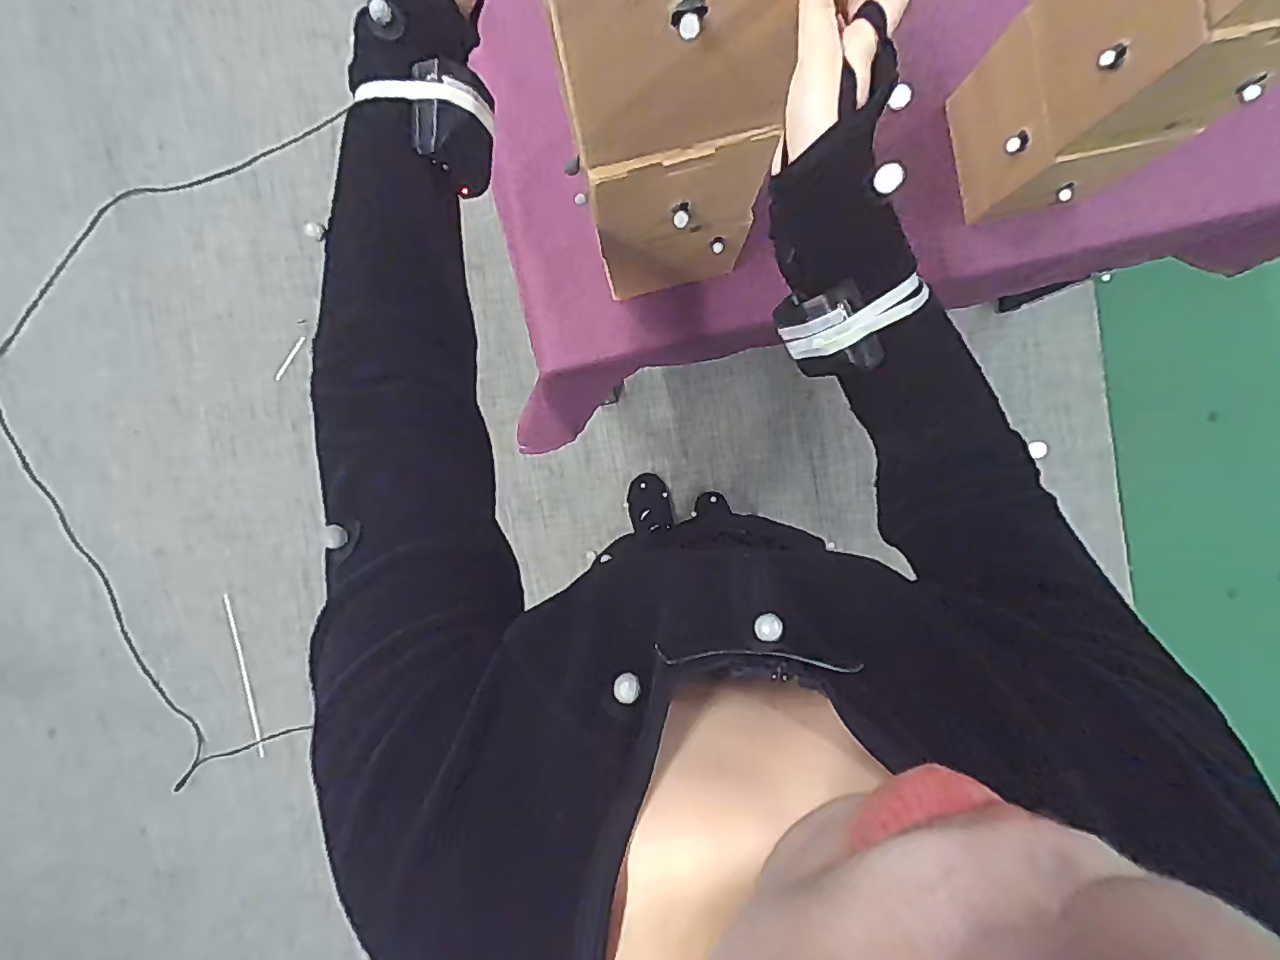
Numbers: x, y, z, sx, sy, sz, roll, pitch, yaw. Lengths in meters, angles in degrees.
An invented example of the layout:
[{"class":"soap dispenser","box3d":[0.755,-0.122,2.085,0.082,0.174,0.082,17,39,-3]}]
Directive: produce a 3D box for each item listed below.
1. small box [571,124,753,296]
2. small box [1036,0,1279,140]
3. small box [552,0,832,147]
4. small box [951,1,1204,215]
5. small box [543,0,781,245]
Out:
[{"class":"small box","box3d":[0.027,-0.351,0.682,0.179,0.176,0.168,-14,91,1]},{"class":"small box","box3d":[0.515,-0.450,0.504,0.168,0.176,0.179,-9,91,1]},{"class":"small box","box3d":[0.024,-0.349,0.343,0.179,0.176,0.168,-12,90,1]},{"class":"small box","box3d":[0.519,-0.452,0.667,0.168,0.176,0.179,-11,91,1]},{"class":"small box","box3d":[0.019,-0.348,0.517,0.168,0.176,0.179,-15,92,1]}]
